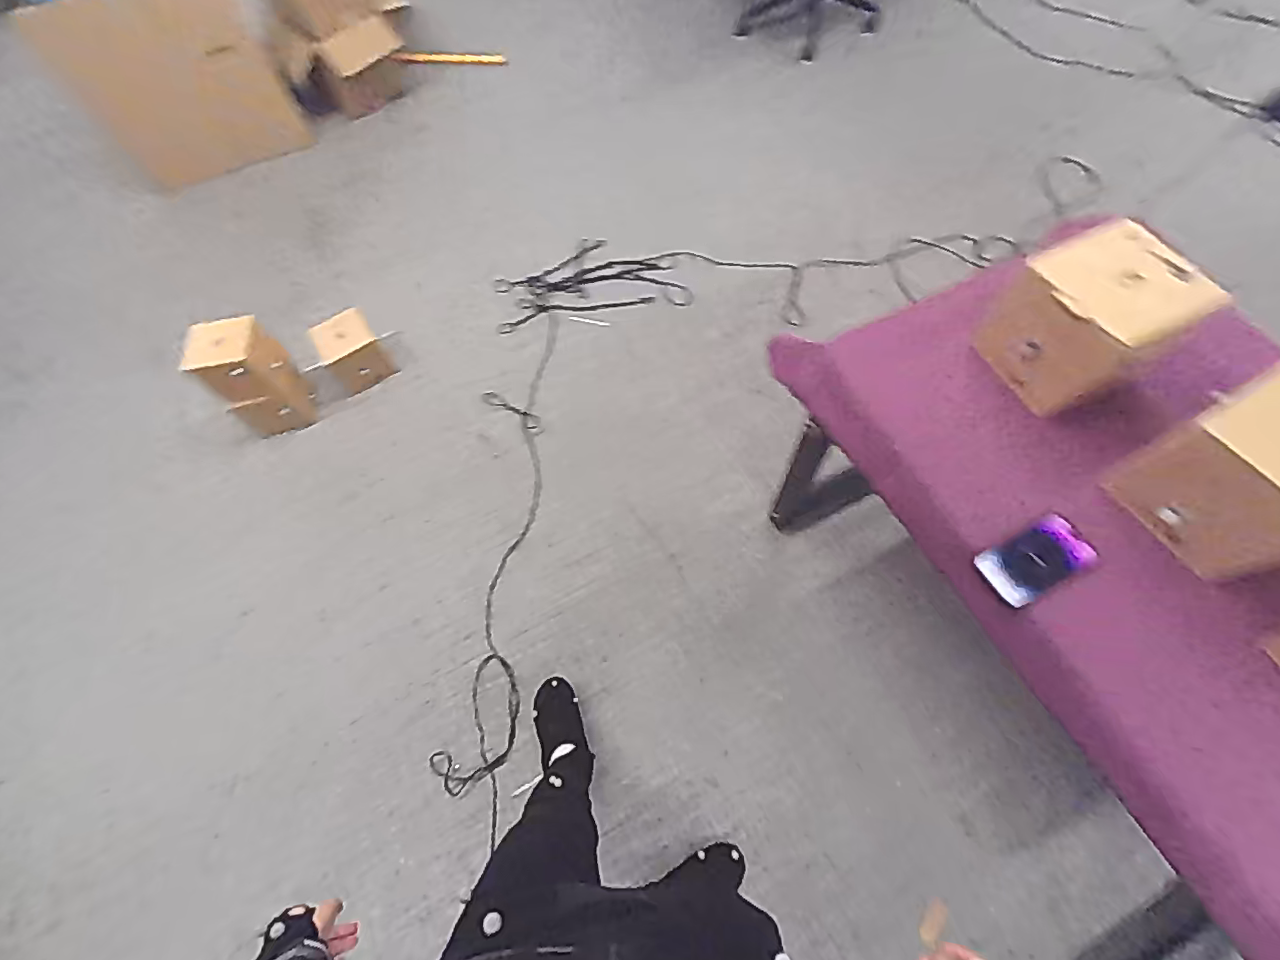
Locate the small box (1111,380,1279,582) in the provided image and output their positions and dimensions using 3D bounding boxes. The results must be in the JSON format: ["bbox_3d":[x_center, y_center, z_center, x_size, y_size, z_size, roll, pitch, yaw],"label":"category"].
[{"bbox_3d":[0.746,-0.001,0.656,0.179,0.176,0.168,-28,65,-9],"label":"small box"}]

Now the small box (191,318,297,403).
[{"bbox_3d":[-1.158,-0.345,1.593,0.179,0.176,0.168,-10,63,-2],"label":"small box"}]

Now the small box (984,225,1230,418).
[{"bbox_3d":[0.634,-0.216,0.770,0.179,0.176,0.168,-24,65,-6],"label":"small box"}]

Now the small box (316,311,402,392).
[{"bbox_3d":[-0.920,-0.414,1.786,0.168,0.176,0.179,-32,66,-11],"label":"small box"}]
